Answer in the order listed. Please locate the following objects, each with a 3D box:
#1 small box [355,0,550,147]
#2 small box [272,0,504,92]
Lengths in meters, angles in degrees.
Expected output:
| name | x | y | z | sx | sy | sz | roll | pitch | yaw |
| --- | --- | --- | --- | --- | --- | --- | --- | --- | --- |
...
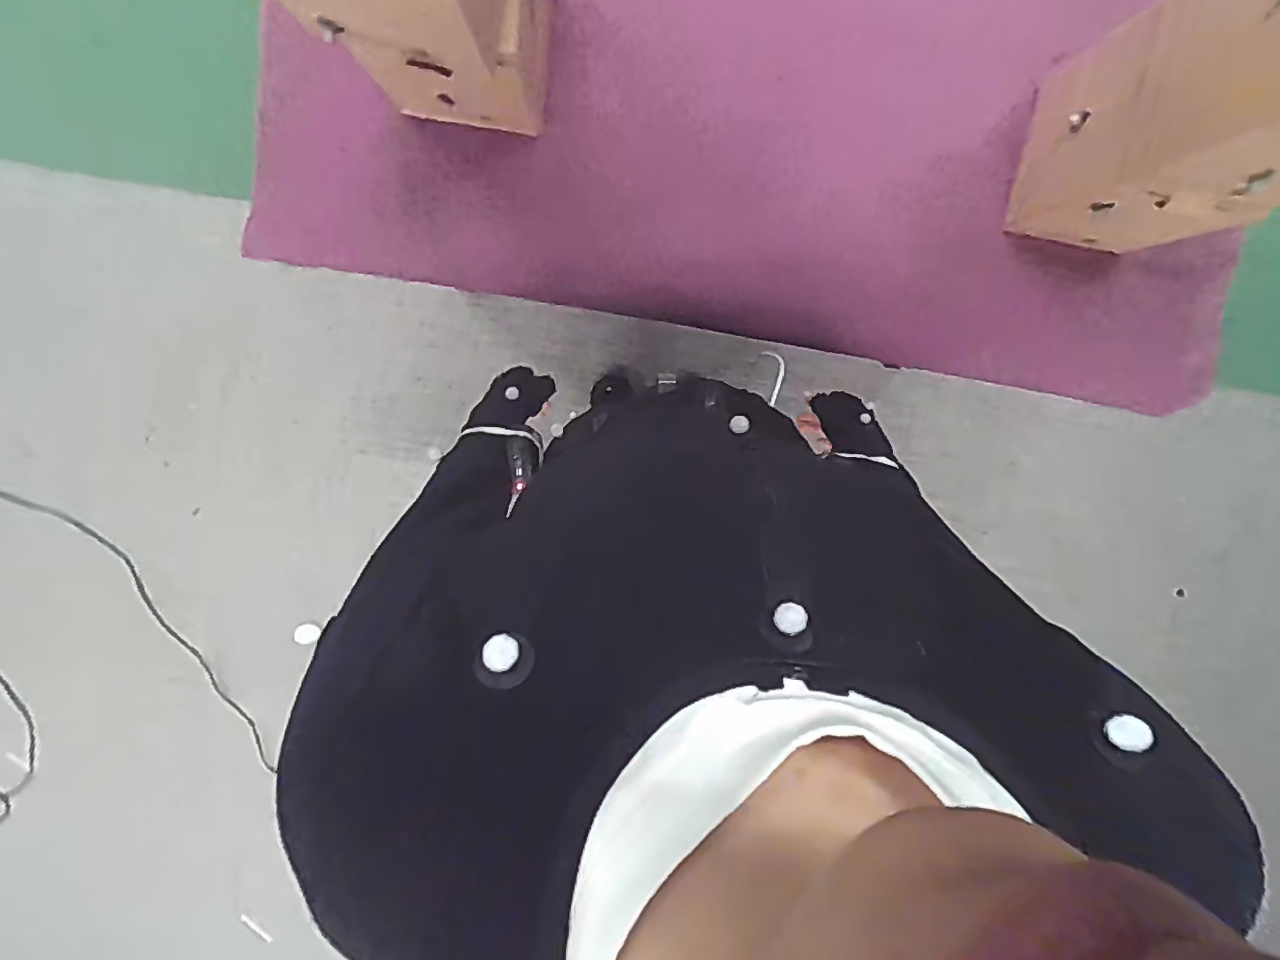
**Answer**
| name | x | y | z | sx | sy | sz | roll | pitch | yaw |
| --- | --- | --- | --- | --- | --- | --- | --- | --- | --- |
| small box | -0.189 | -0.482 | 0.559 | 0.168 | 0.176 | 0.179 | 7 | 102 | -4 |
| small box | -0.194 | -0.434 | 0.401 | 0.168 | 0.176 | 0.179 | 11 | 101 | -5 |
